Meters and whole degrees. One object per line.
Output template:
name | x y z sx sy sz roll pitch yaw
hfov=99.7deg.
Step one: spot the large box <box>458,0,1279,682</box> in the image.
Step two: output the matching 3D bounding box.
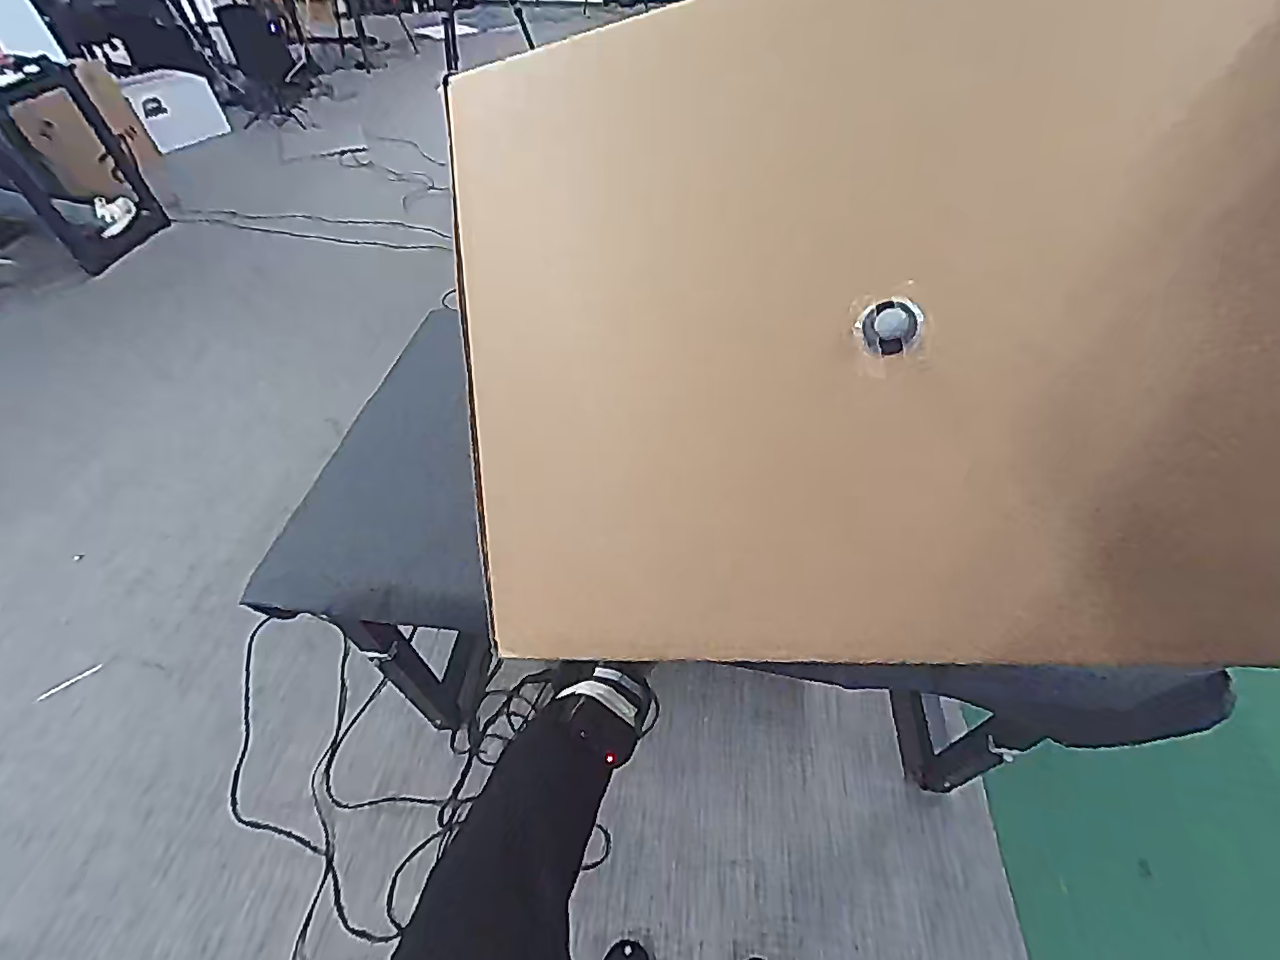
large box | 0.147 -0.068 0.385 0.408 0.320 0.320 -6 89 15
